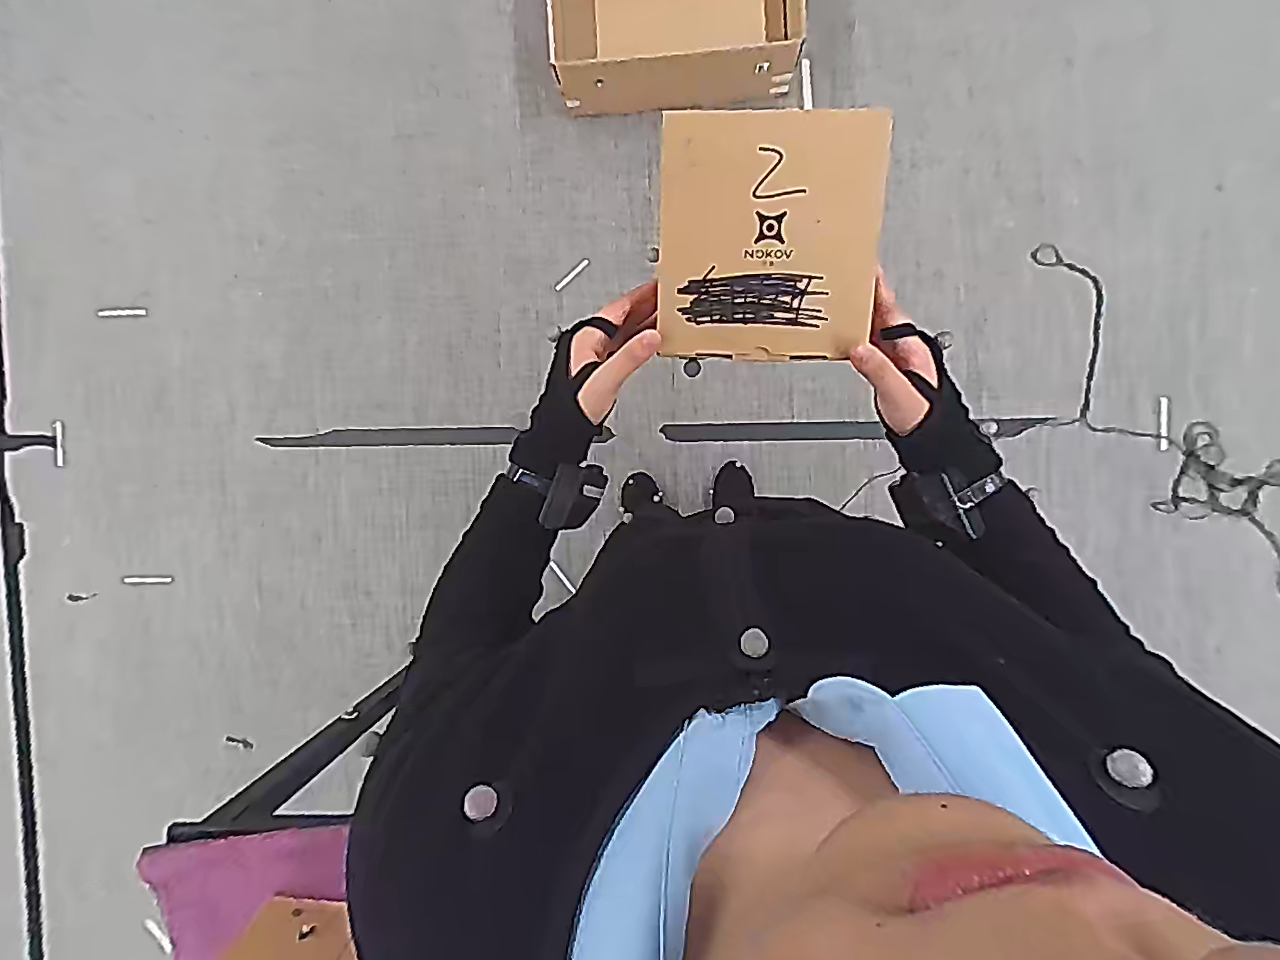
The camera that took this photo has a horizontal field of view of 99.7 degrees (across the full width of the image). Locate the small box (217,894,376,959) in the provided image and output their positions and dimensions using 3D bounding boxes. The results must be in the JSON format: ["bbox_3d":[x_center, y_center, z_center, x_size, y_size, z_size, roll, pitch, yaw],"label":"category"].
[{"bbox_3d":[-0.486,0.728,0.745,0.168,0.176,0.179,2,93,4],"label":"small box"}]
